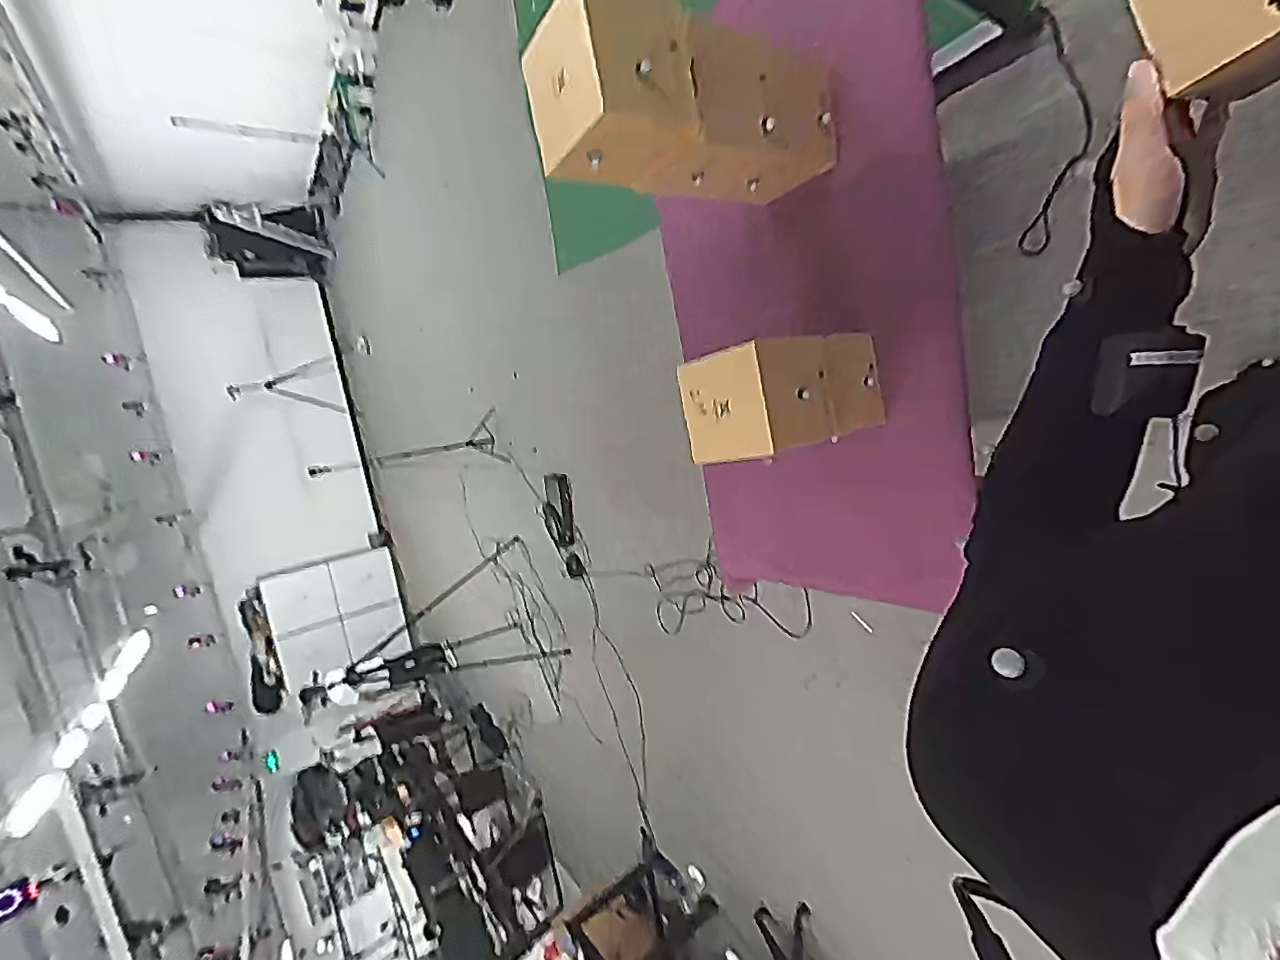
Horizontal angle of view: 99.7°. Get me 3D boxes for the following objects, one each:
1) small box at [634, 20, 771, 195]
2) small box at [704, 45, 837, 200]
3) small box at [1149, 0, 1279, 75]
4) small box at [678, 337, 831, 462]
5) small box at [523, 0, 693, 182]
[{"bbox_3d":[0.092,-0.574,0.861,0.179,0.176,0.168,2,105,56],"label":"small box"},{"bbox_3d":[0.220,-0.612,0.956,0.179,0.176,0.168,2,106,54],"label":"small box"},{"bbox_3d":[0.392,-0.358,0.290,0.168,0.176,0.179,-20,92,61],"label":"small box"},{"bbox_3d":[0.193,-0.131,0.887,0.179,0.176,0.168,-5,98,54],"label":"small box"},{"bbox_3d":[-0.040,-0.549,0.770,0.179,0.176,0.168,-1,103,57],"label":"small box"}]
